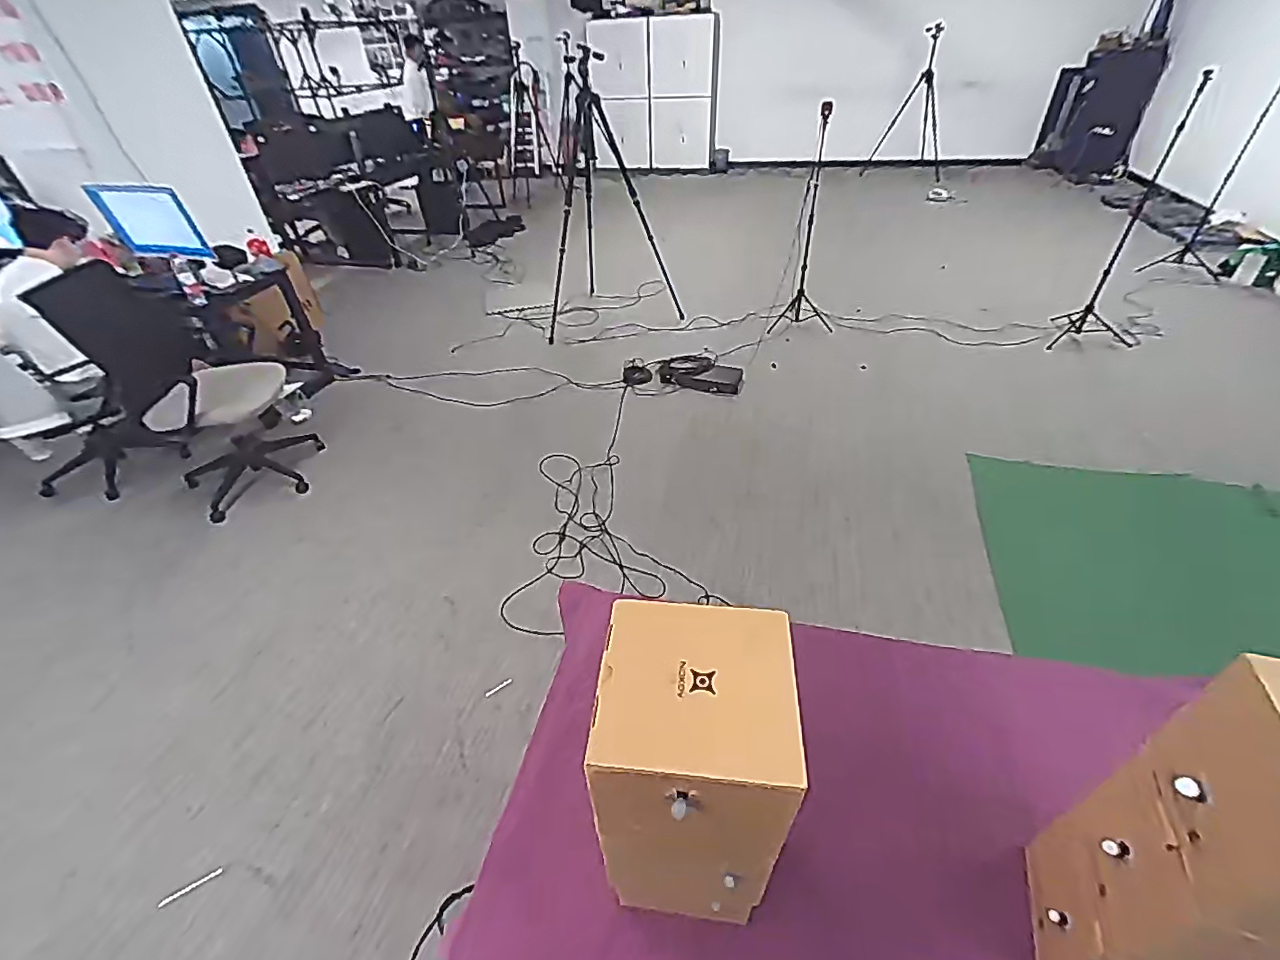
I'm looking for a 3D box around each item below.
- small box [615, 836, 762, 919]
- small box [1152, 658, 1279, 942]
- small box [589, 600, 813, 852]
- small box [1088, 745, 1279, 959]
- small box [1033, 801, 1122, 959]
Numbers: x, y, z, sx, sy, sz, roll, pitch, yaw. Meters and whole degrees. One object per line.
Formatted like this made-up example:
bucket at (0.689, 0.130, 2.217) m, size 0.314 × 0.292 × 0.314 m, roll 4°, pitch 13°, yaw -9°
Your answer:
small box at (0.070, 0.481, 0.751) m, size 0.179 × 0.176 × 0.168 m, roll 3°, pitch 40°, yaw 8°
small box at (0.590, 0.282, 0.443) m, size 0.179 × 0.176 × 0.168 m, roll 11°, pitch 42°, yaw 17°
small box at (0.057, 0.241, 0.529) m, size 0.179 × 0.176 × 0.168 m, roll 2°, pitch 41°, yaw 6°
small box at (0.596, 0.410, 0.546) m, size 0.179 × 0.176 × 0.168 m, roll 11°, pitch 42°, yaw 18°
small box at (0.603, 0.535, 0.651) m, size 0.179 × 0.176 × 0.168 m, roll 15°, pitch 43°, yaw 20°
